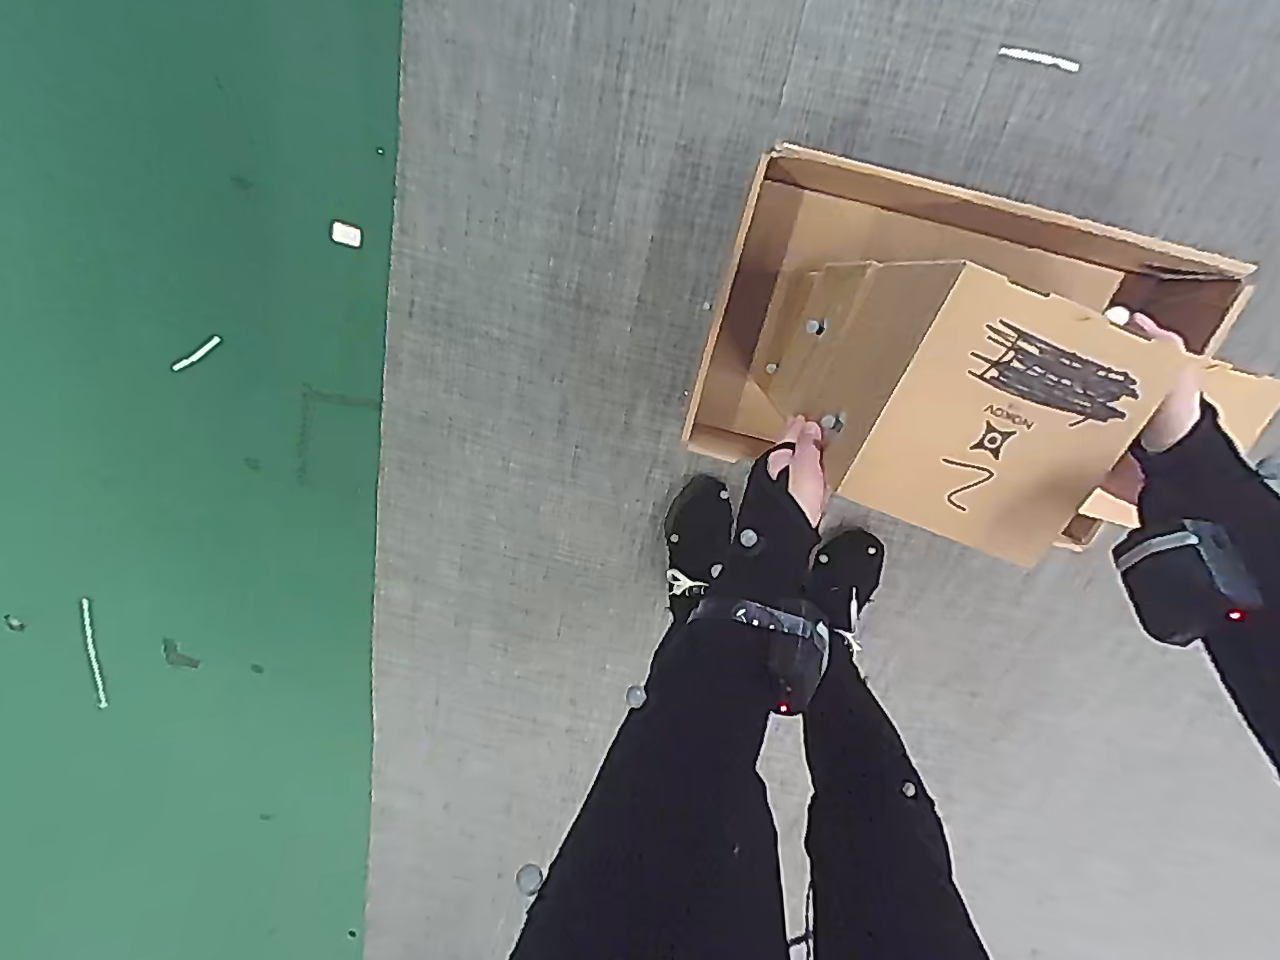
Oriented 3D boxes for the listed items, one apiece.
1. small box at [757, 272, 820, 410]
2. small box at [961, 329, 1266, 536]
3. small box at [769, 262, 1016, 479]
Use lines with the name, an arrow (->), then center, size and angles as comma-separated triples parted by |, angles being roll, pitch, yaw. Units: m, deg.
small box -> 0.276, -0.187, 0.771 | 0.168, 0.176, 0.179 | 12, 112, -3
small box -> 0.517, -0.067, 0.628 | 0.168, 0.176, 0.179 | 16, 112, -1
small box -> 0.263, -0.130, 0.617 | 0.168, 0.176, 0.179 | 20, 110, -4
